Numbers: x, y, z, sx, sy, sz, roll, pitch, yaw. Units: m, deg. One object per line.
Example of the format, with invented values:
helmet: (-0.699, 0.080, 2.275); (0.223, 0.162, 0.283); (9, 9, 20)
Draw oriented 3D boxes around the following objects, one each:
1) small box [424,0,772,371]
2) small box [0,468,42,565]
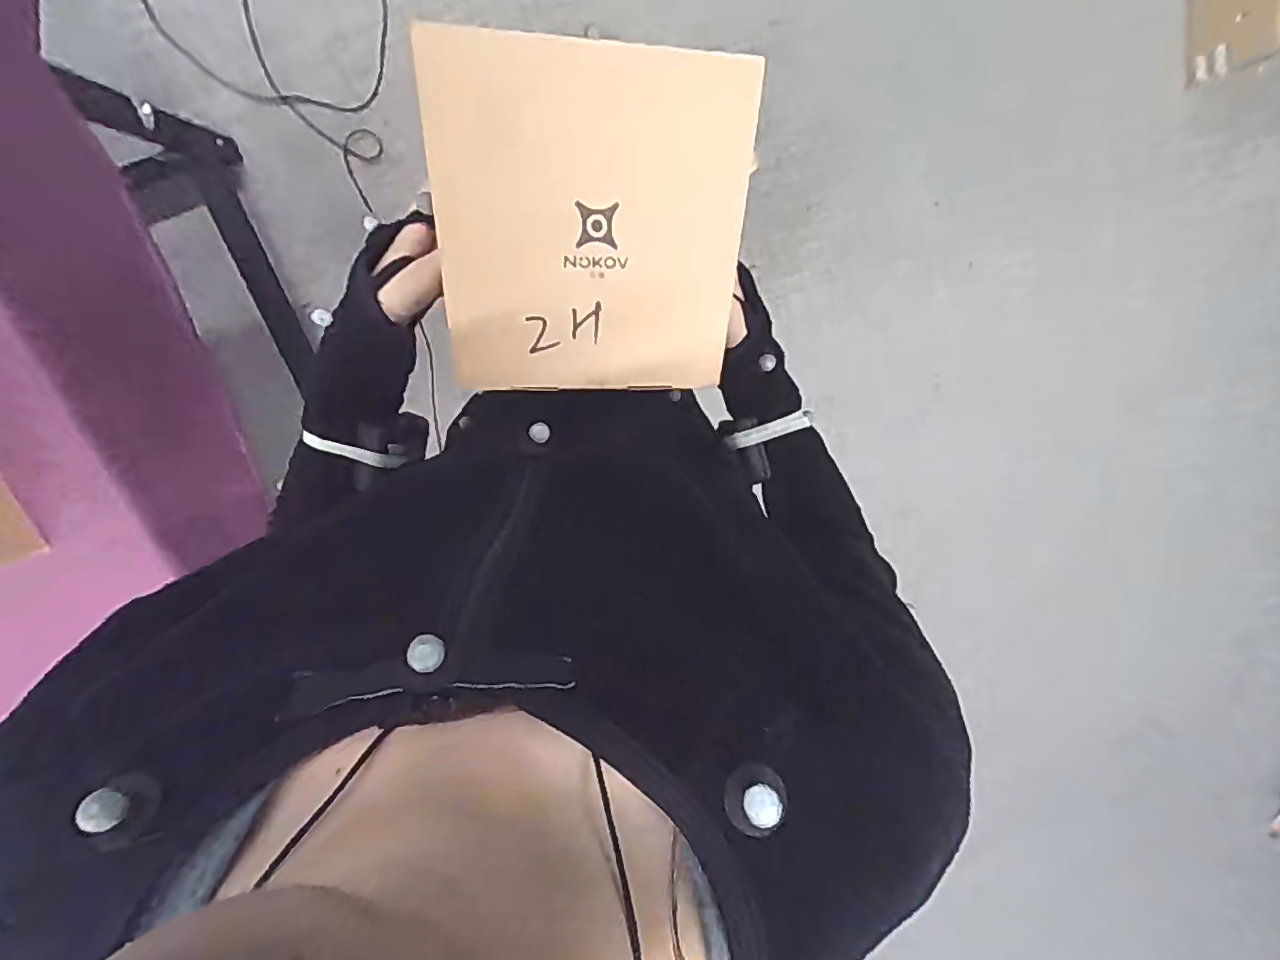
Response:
small box: (-0.034, -0.186, 0.357); (0.168, 0.176, 0.179); (0, 122, -9)
small box: (-0.946, 0.060, 0.682); (0.168, 0.176, 0.179); (-16, 106, 5)
